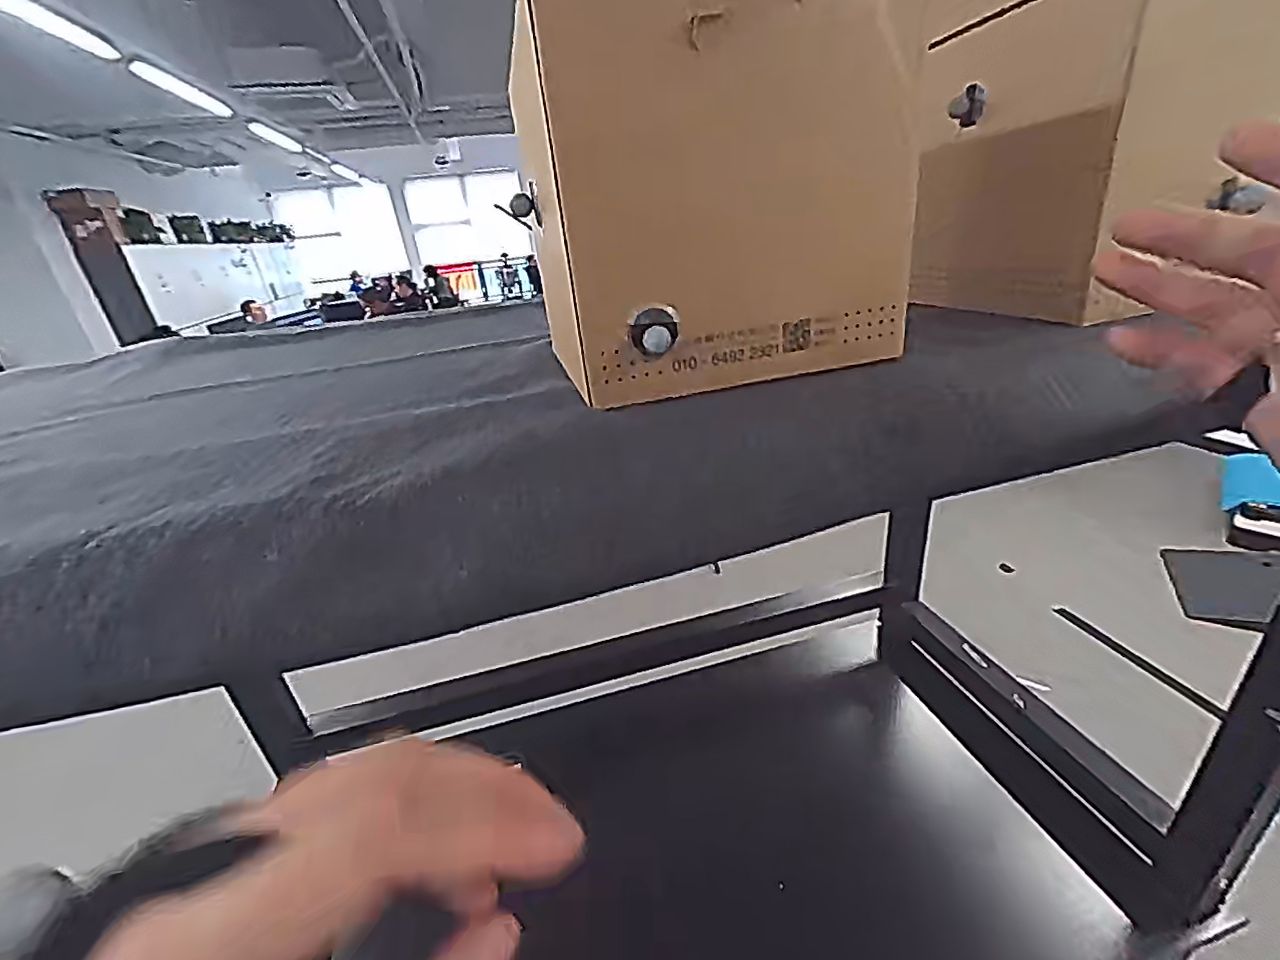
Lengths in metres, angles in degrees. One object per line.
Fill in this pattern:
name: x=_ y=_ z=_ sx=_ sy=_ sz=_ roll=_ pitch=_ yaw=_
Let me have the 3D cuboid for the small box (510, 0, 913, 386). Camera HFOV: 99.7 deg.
small box: x=0.027 y=-0.155 z=0.303 sx=0.168 sy=0.176 sz=0.179 roll=-11 pitch=23 yaw=-10

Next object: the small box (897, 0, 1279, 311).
small box: x=0.292 y=-0.211 z=0.353 sx=0.168 sy=0.176 sz=0.179 roll=-12 pitch=25 yaw=-9
